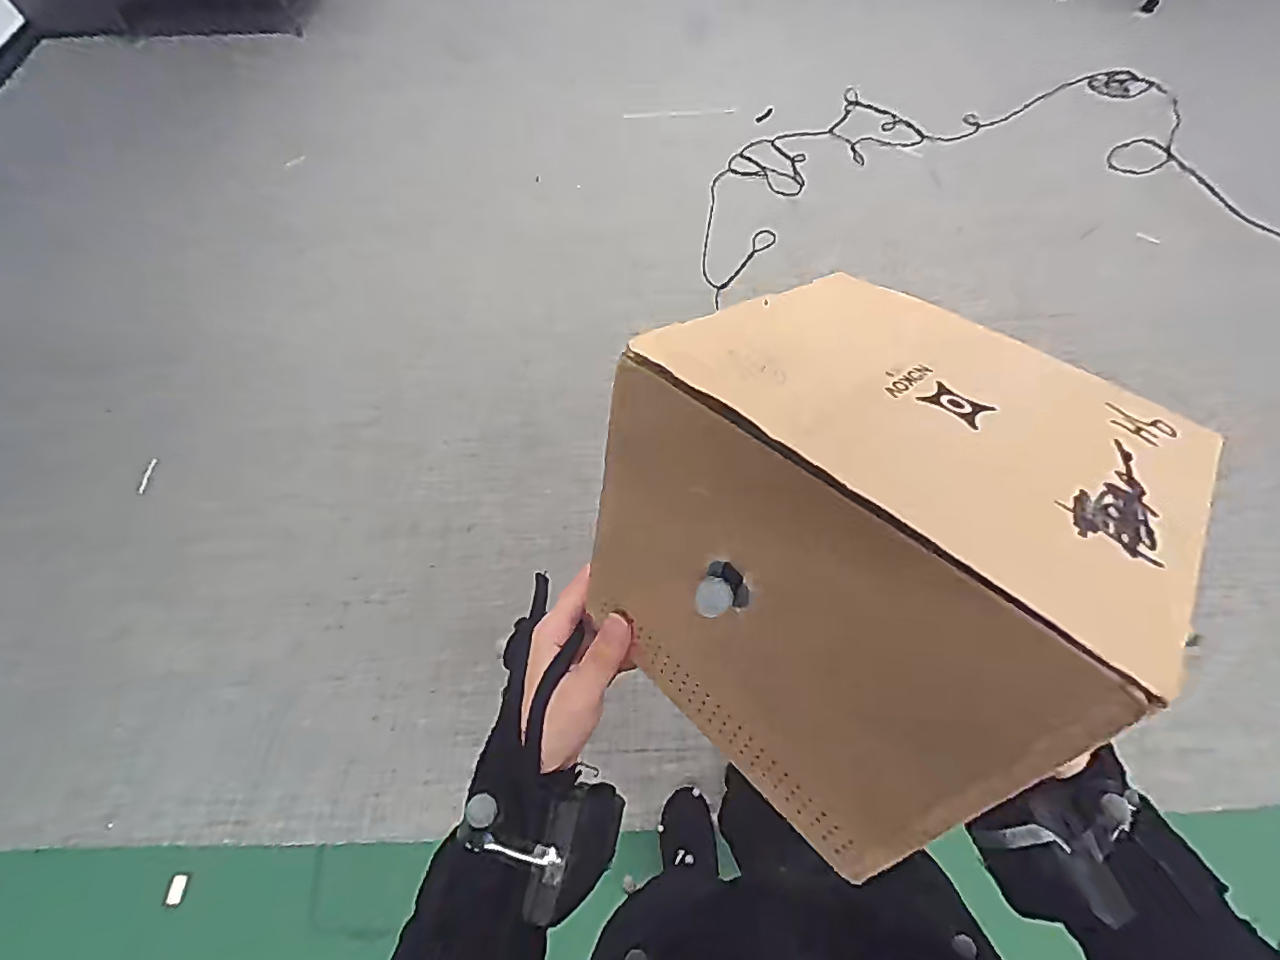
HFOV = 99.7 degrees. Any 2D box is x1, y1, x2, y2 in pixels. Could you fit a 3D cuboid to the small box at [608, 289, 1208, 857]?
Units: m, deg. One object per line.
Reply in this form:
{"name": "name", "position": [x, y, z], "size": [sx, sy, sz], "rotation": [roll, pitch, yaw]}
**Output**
{"name": "small box", "position": [0.101, 0.033, 0.263], "size": [0.179, 0.176, 0.168], "rotation": [38, 49, 27]}
